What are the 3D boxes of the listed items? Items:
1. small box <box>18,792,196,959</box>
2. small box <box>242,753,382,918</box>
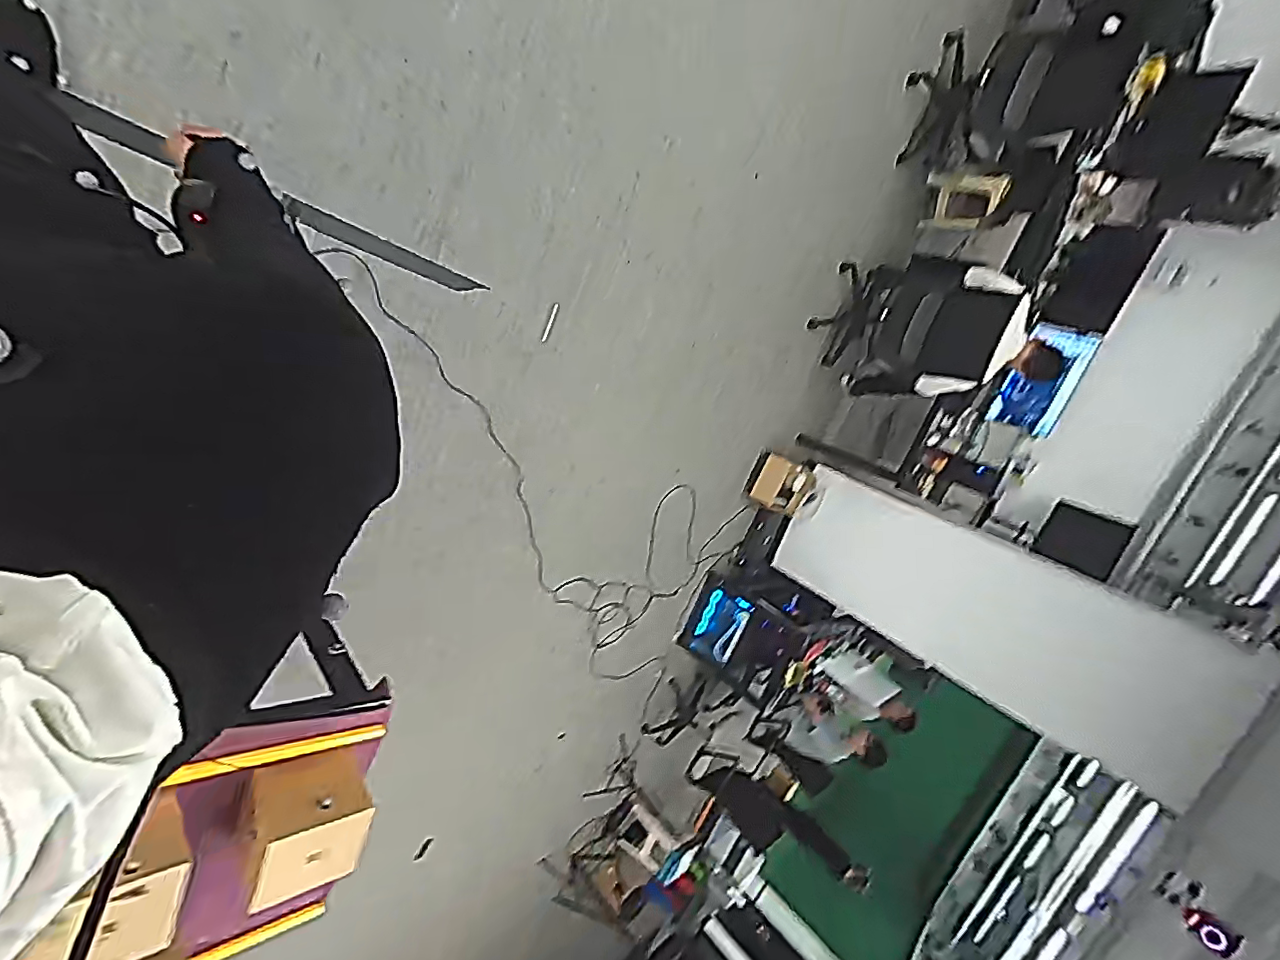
[{"bbox_3d":[-0.807,0.624,0.820,0.168,0.176,0.179,9,108,-50],"label":"small box"},{"bbox_3d":[-0.632,0.664,1.035,0.179,0.176,0.168,8,108,-49],"label":"small box"}]
